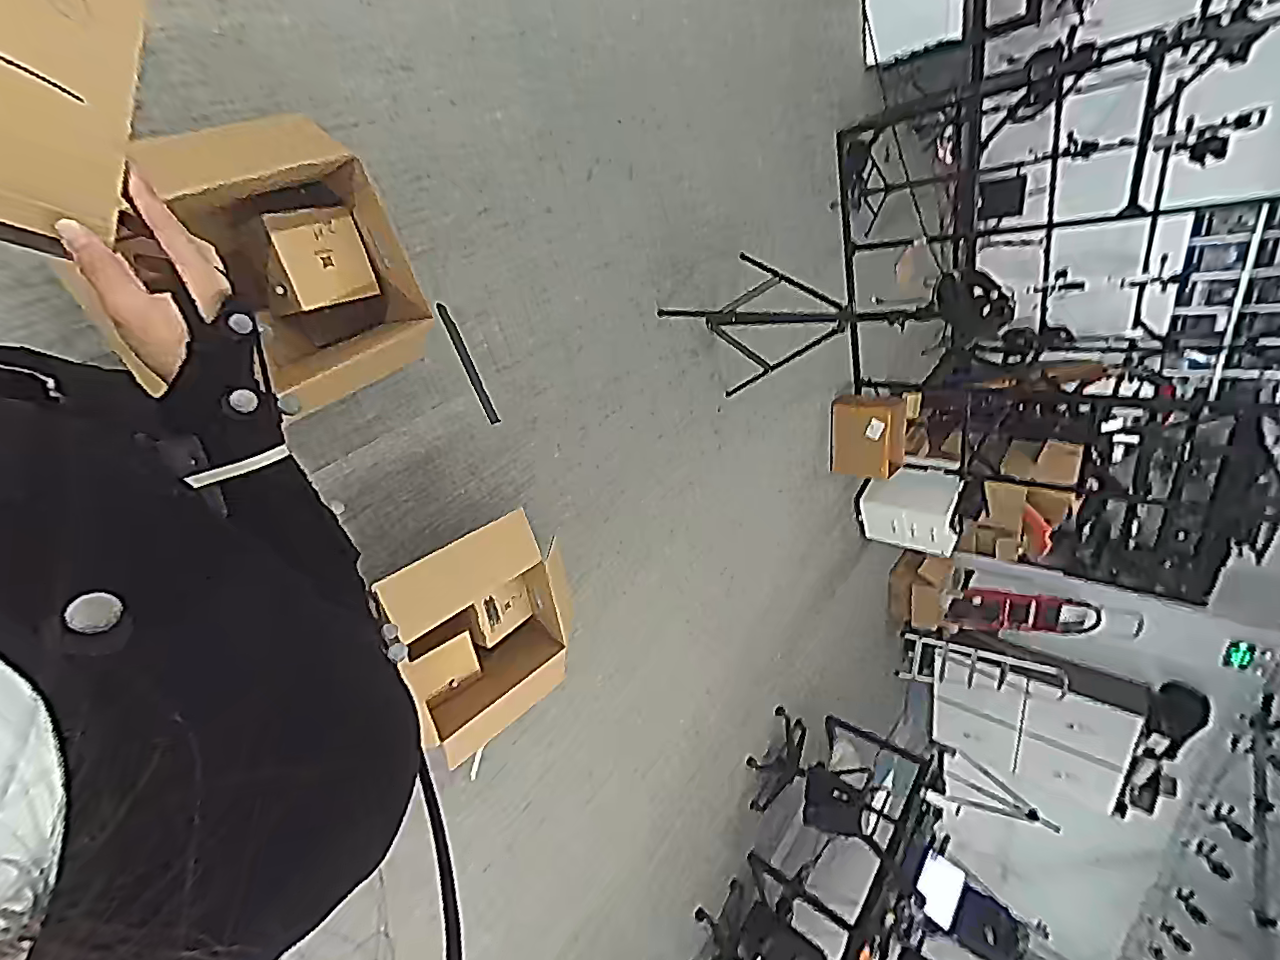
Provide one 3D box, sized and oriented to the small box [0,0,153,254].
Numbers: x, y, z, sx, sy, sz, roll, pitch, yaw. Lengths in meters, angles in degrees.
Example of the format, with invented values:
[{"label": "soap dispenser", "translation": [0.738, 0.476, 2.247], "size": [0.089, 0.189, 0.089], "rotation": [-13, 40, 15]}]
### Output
[{"label": "small box", "translation": [-0.422, -0.242, 0.310], "size": [0.179, 0.176, 0.168], "rotation": [8, 97, -52]}]
